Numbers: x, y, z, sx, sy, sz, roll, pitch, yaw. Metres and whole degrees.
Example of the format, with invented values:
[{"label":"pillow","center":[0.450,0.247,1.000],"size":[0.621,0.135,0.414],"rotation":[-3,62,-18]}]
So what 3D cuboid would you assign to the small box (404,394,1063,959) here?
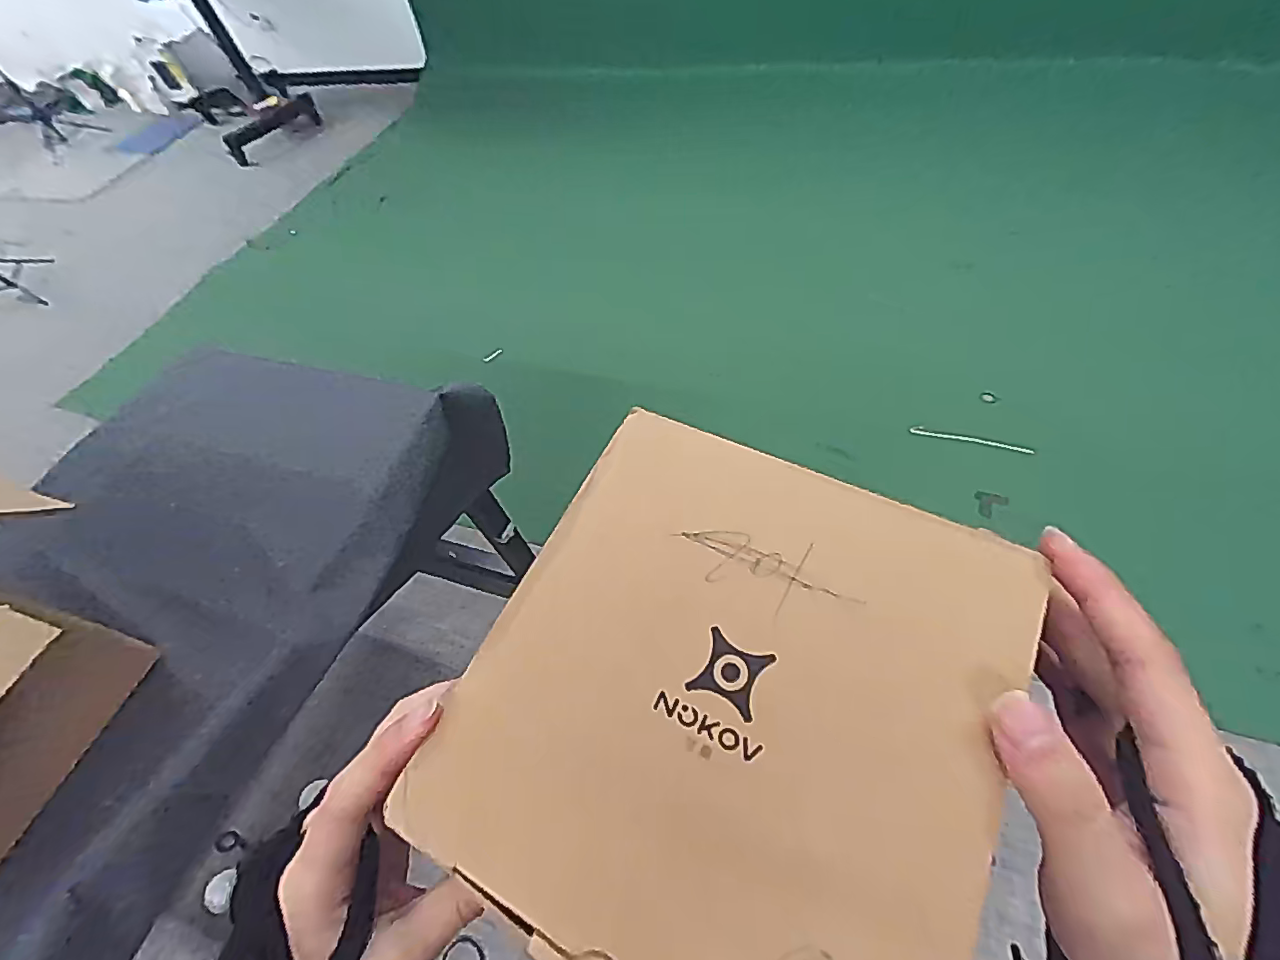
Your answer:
[{"label":"small box","center":[0.042,0.099,0.248],"size":[0.168,0.176,0.179],"rotation":[23,66,17]}]
